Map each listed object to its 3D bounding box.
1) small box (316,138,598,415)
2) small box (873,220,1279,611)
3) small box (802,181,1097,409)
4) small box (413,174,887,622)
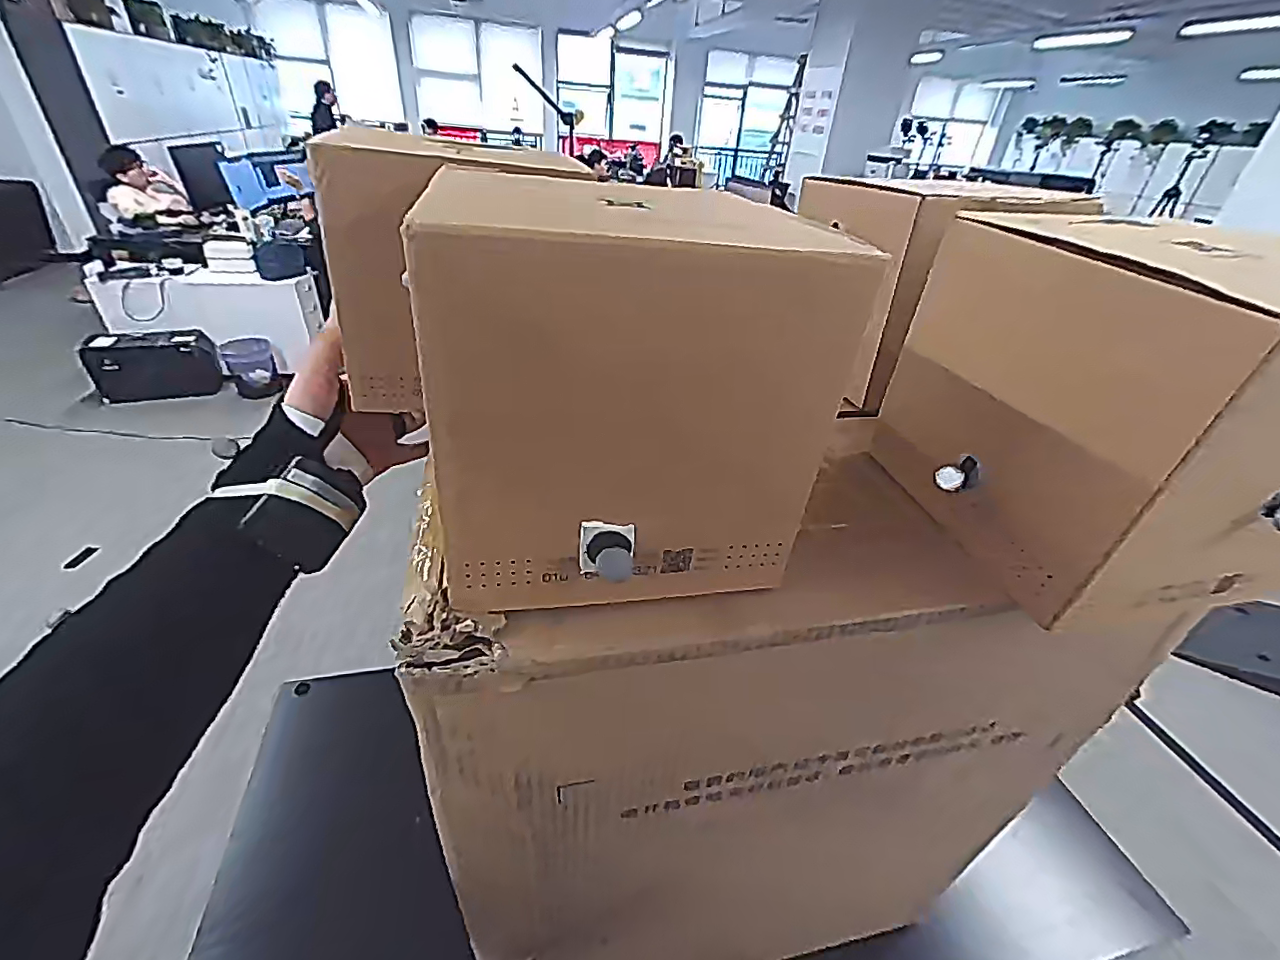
[{"bbox_3d":[-0.136,-0.162,0.432,0.168,0.176,0.179,-4,33,-17],"label":"small box"},{"bbox_3d":[0.272,-0.041,0.313,0.168,0.176,0.179,-5,37,-12],"label":"small box"},{"bbox_3d":[0.249,-0.177,0.507,0.168,0.176,0.179,-6,33,-13],"label":"small box"},{"bbox_3d":[-0.014,-0.051,0.288,0.168,0.176,0.179,-3,35,-14],"label":"small box"}]
